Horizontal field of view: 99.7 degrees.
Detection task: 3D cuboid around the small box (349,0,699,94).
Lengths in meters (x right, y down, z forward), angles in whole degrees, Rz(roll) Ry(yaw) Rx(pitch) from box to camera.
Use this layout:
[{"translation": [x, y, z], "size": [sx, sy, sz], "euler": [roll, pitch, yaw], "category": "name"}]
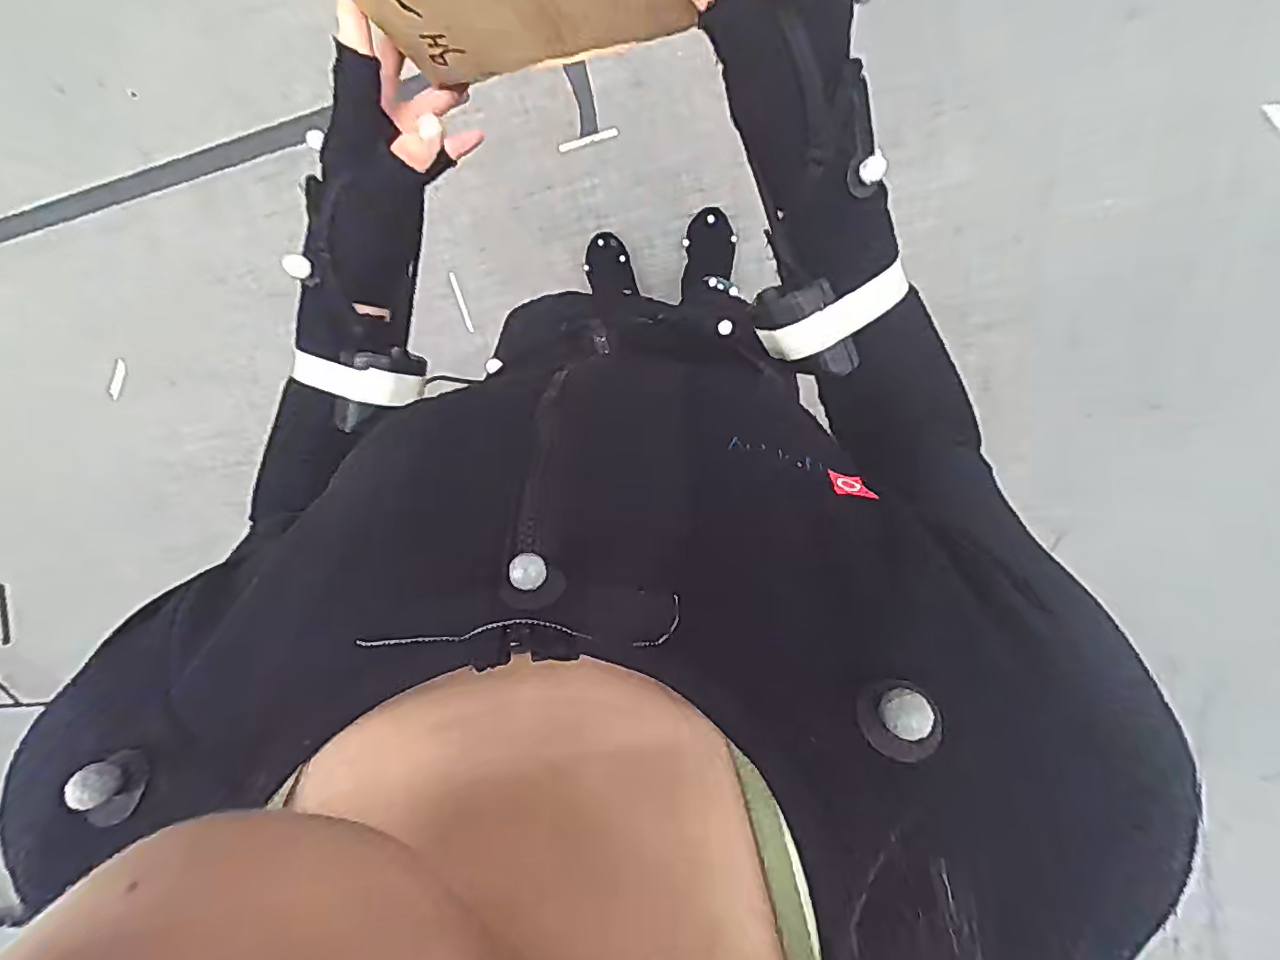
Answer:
[{"translation": [-0.071, -0.331, 0.252], "size": [0.179, 0.168, 0.176], "euler": [1, 91, 15], "category": "small box"}]
